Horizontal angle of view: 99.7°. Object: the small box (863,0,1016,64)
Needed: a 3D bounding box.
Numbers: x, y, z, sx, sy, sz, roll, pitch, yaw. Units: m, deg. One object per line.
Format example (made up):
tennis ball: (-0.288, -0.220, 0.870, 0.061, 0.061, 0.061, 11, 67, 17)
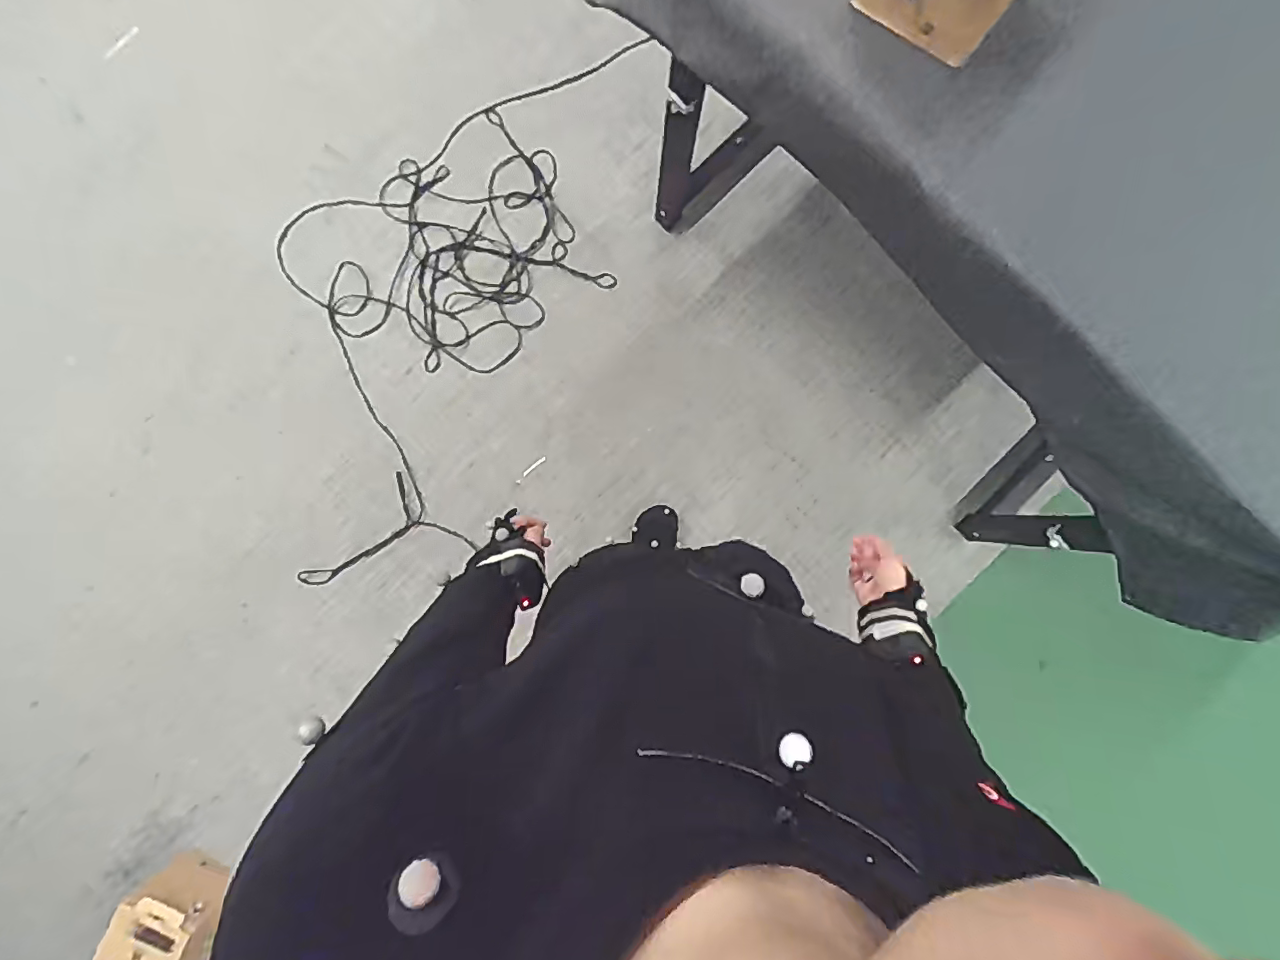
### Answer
small box: (0.385, -0.639, 0.608, 0.168, 0.176, 0.179, 31, 87, -1)
